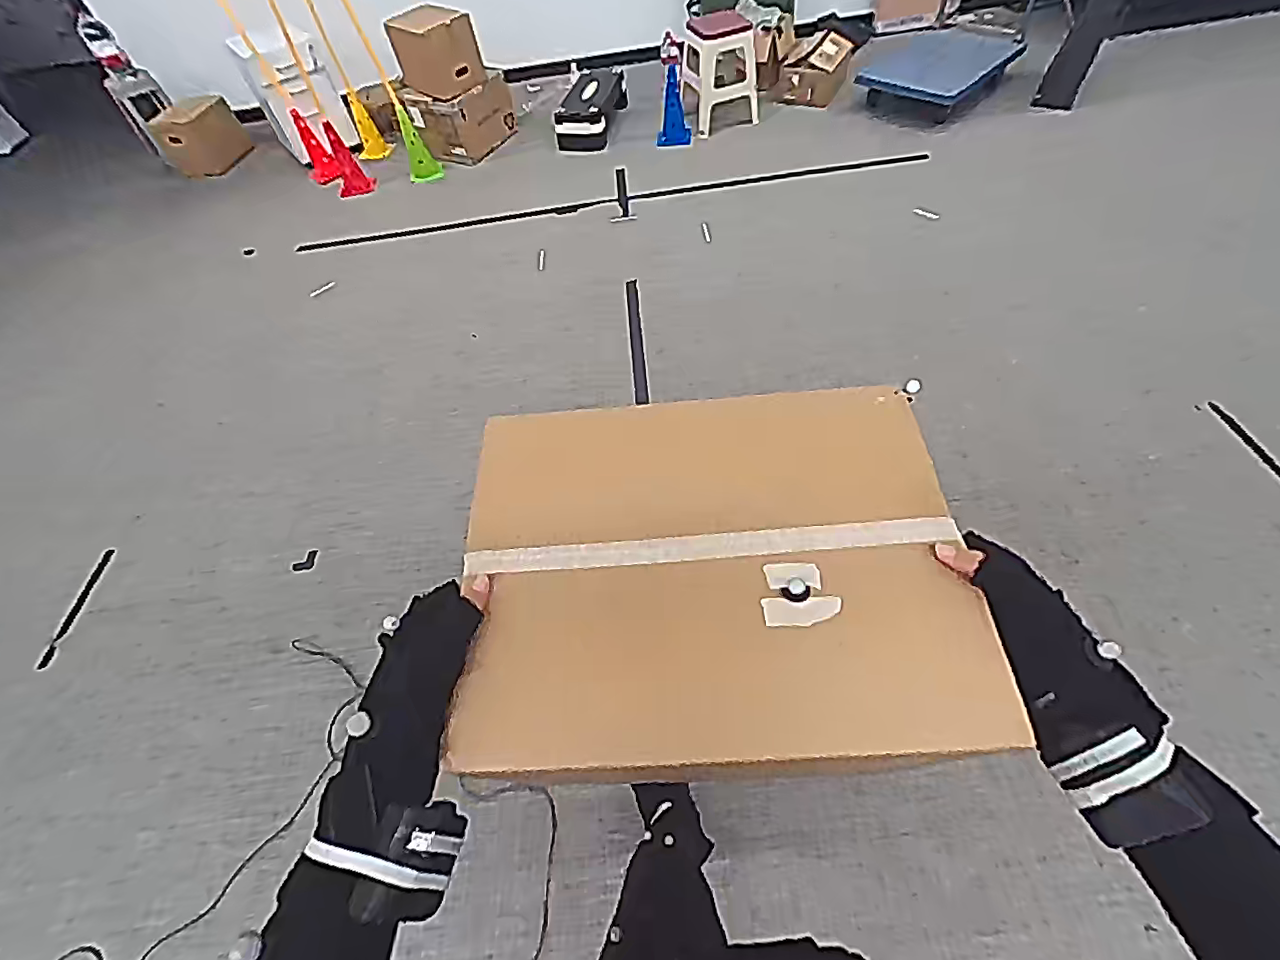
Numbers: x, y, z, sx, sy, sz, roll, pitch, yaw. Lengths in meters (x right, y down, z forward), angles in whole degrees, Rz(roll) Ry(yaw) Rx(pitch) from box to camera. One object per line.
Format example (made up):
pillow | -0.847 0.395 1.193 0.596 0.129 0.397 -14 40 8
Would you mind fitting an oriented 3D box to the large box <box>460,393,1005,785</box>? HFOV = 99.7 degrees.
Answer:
large box | 0.067 0.138 0.593 0.408 0.320 0.320 -5 58 3
